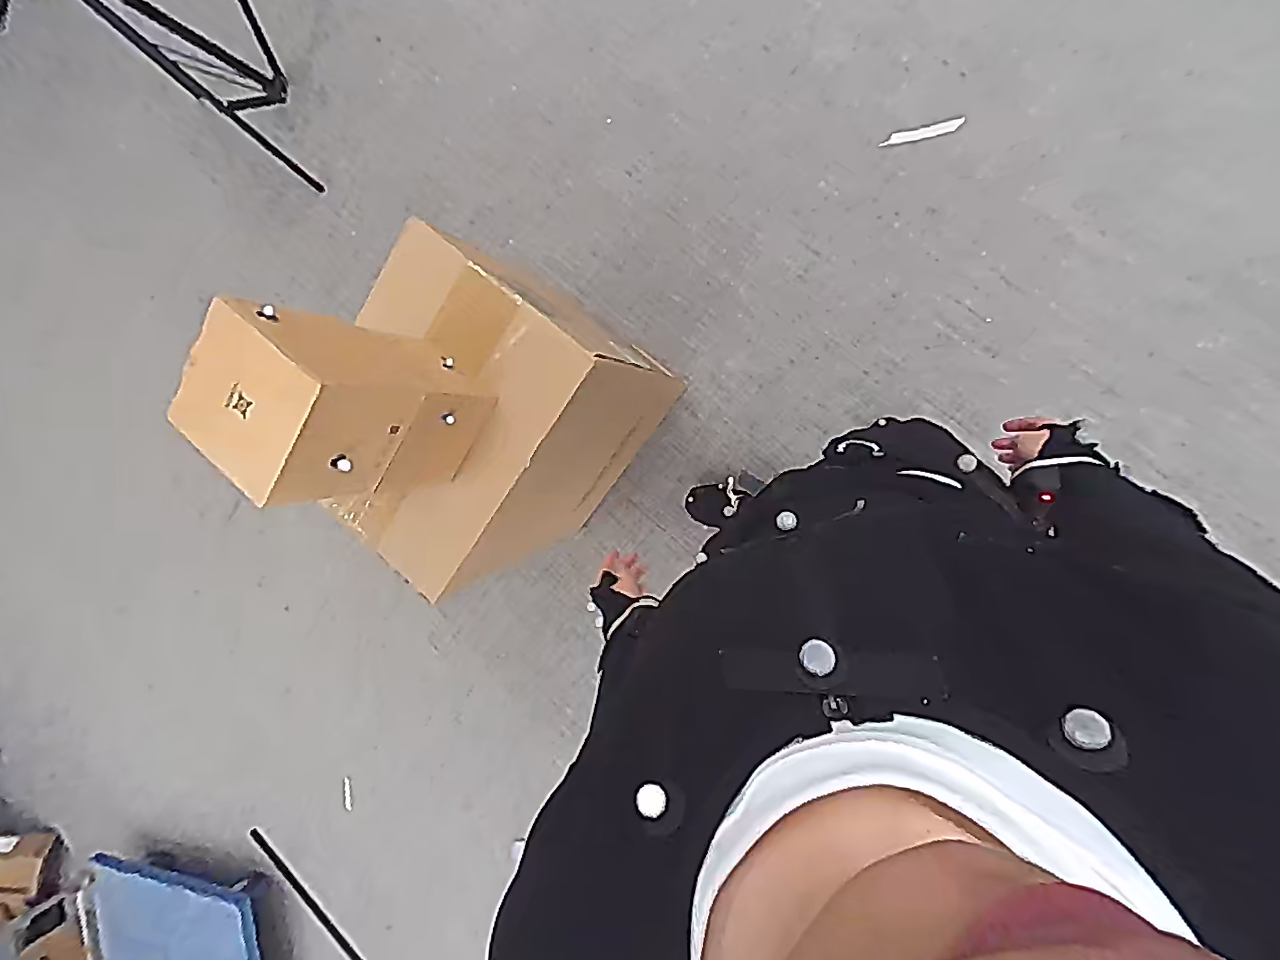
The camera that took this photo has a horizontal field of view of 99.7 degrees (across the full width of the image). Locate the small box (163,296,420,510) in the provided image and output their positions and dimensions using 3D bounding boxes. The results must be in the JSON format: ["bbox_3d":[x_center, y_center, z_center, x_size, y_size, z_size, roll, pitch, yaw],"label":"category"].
[{"bbox_3d":[-0.405,-0.091,0.650,0.179,0.176,0.168,38,106,11],"label":"small box"}]
